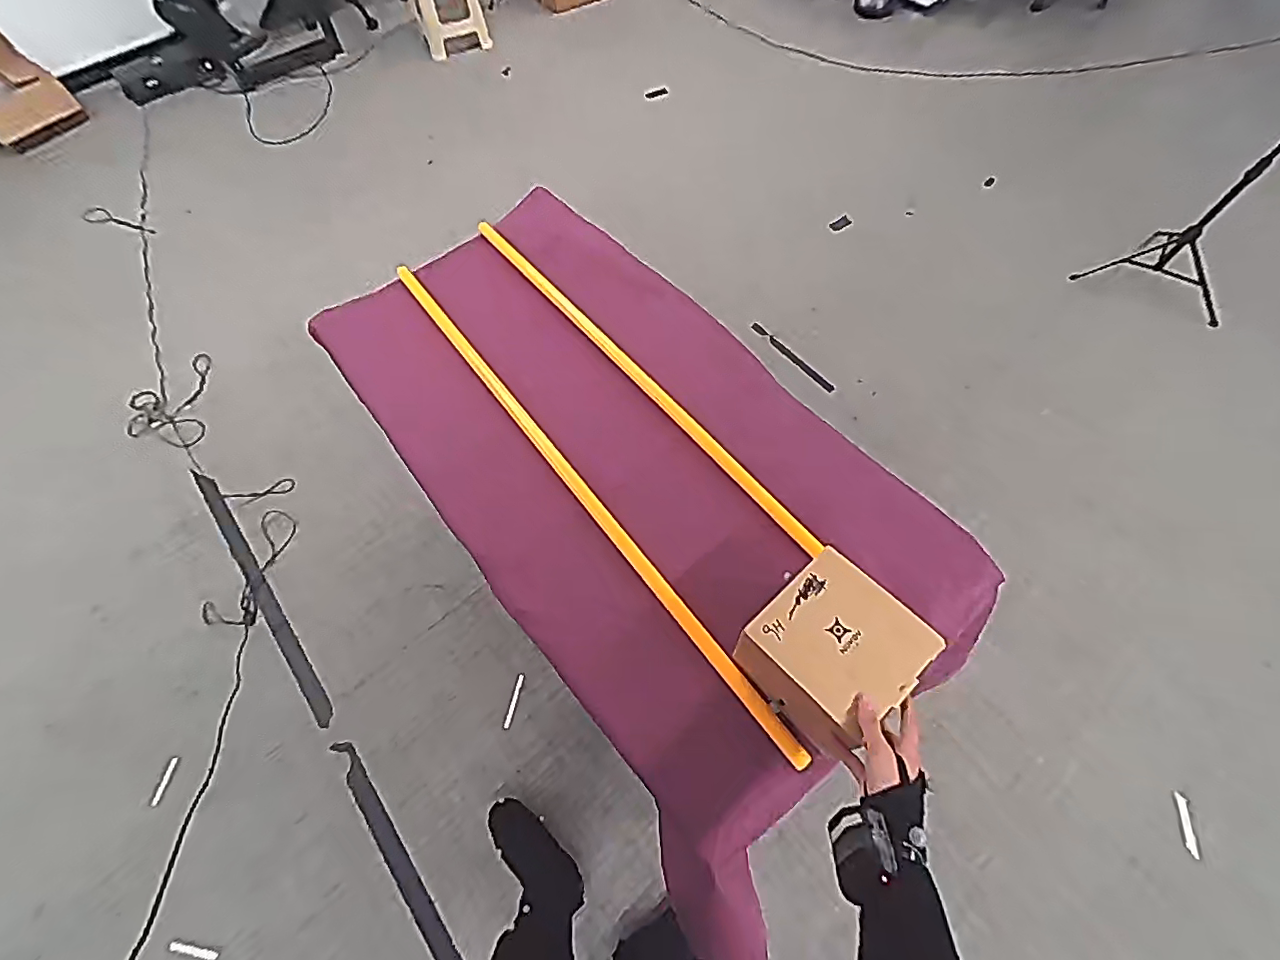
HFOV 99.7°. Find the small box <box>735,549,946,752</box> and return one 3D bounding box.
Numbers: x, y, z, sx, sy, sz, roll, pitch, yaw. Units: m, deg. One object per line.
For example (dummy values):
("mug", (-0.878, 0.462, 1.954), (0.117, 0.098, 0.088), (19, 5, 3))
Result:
("small box", (0.245, 0.228, 0.709), (0.168, 0.176, 0.179), (-38, 65, -17))
